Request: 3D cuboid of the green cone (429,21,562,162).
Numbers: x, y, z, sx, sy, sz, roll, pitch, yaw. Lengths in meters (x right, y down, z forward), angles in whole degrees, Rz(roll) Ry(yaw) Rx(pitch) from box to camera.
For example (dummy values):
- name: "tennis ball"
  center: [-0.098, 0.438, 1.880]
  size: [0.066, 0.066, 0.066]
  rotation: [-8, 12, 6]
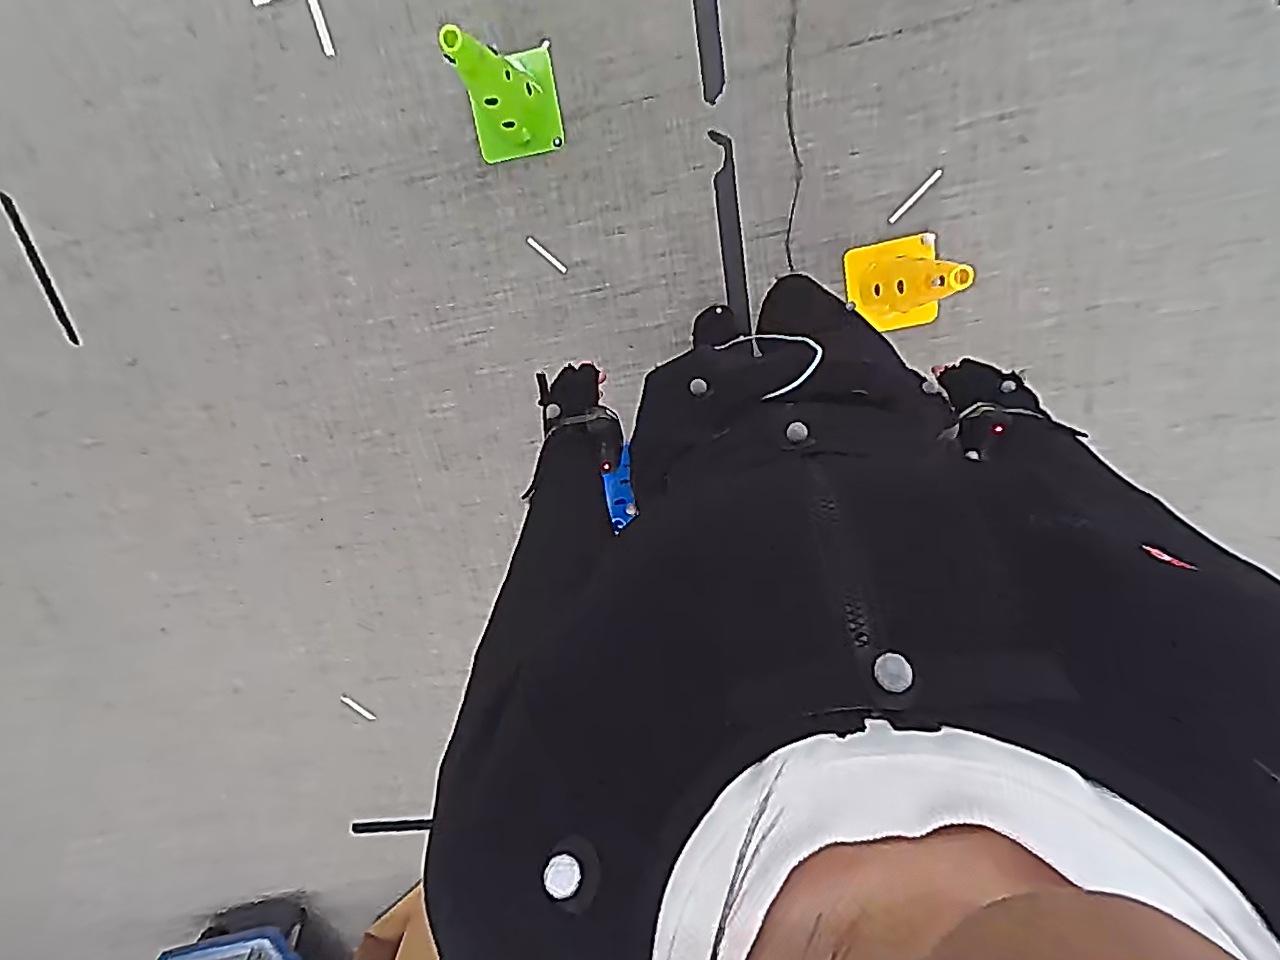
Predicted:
- name: "green cone"
  center: [-0.307, -0.798, 1.064]
  size: [0.202, 0.368, 0.200]
  rotation: [-7, 107, 9]
